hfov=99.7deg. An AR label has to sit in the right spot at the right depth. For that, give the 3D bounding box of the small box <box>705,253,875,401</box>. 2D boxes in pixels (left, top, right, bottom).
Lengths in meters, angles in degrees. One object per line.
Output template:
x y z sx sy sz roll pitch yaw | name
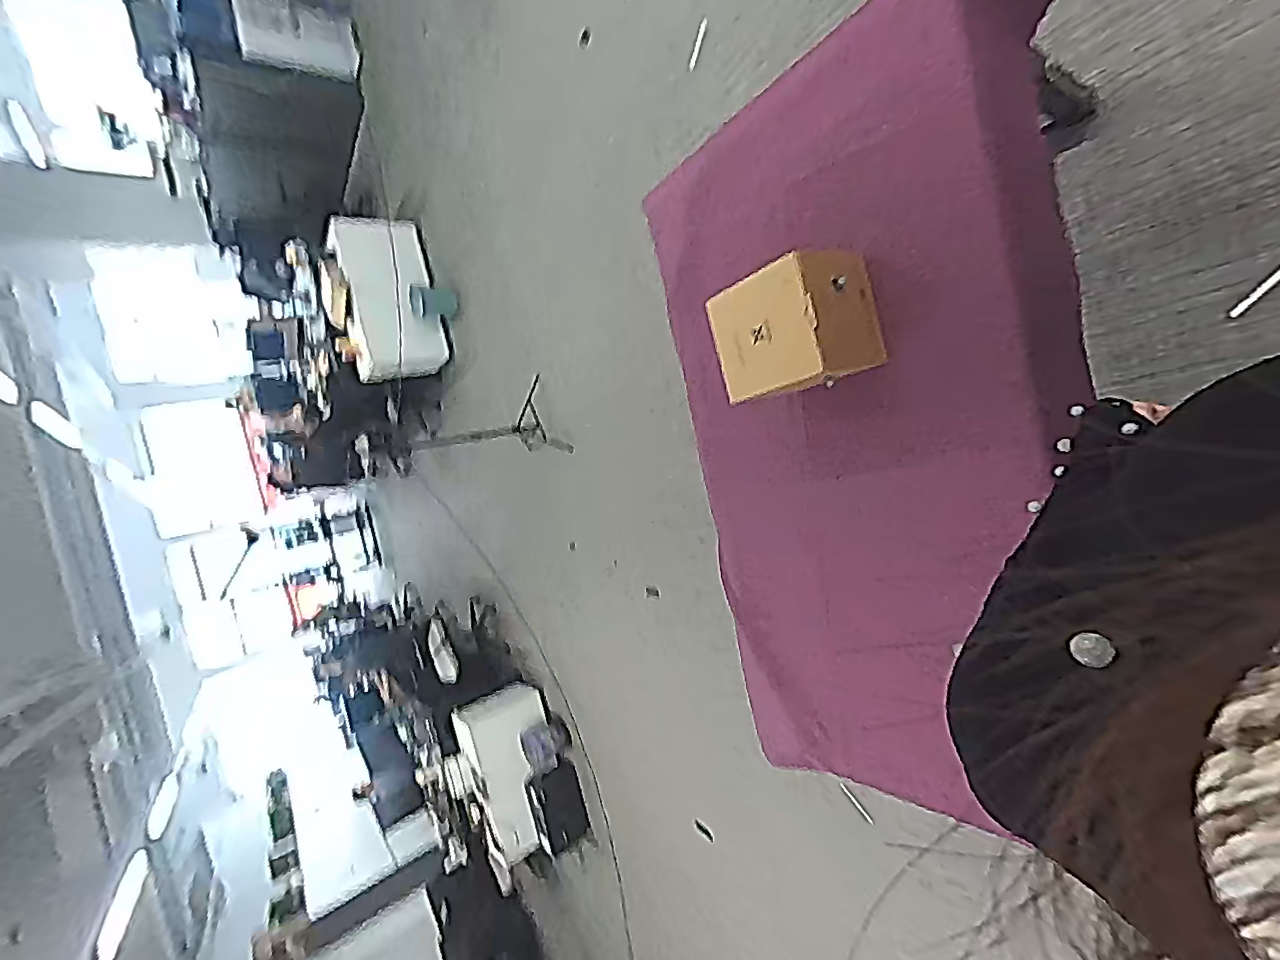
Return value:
0.233 -0.229 0.822 0.179 0.176 0.168 -12 92 54 | small box
